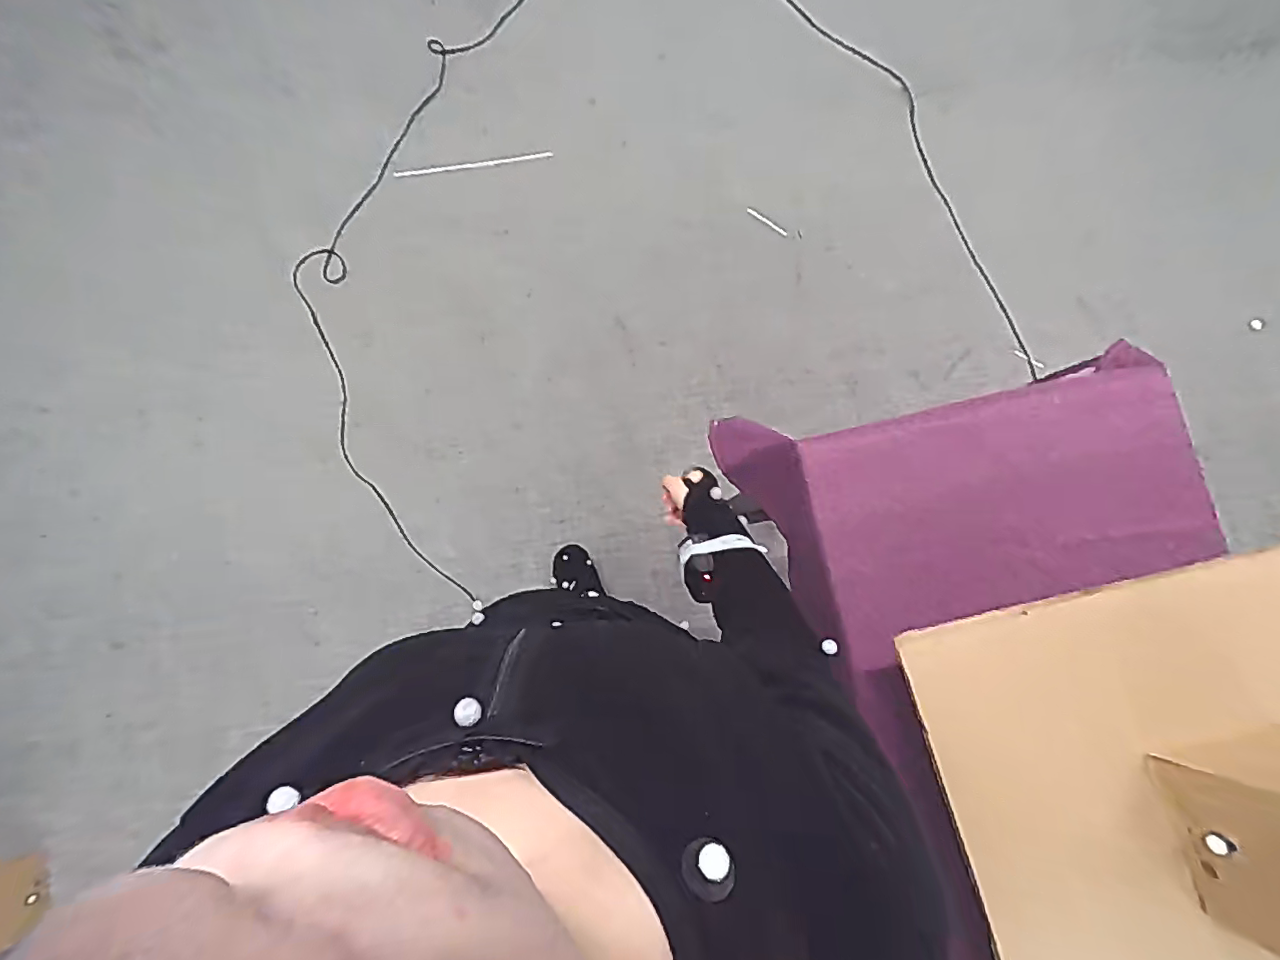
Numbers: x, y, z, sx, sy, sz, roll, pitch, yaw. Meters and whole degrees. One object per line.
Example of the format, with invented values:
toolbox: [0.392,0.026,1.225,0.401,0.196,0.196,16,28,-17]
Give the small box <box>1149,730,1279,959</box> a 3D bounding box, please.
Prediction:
small box: [0.664,0.354,0.514,0.179,0.176,0.168,-12,76,-1]
